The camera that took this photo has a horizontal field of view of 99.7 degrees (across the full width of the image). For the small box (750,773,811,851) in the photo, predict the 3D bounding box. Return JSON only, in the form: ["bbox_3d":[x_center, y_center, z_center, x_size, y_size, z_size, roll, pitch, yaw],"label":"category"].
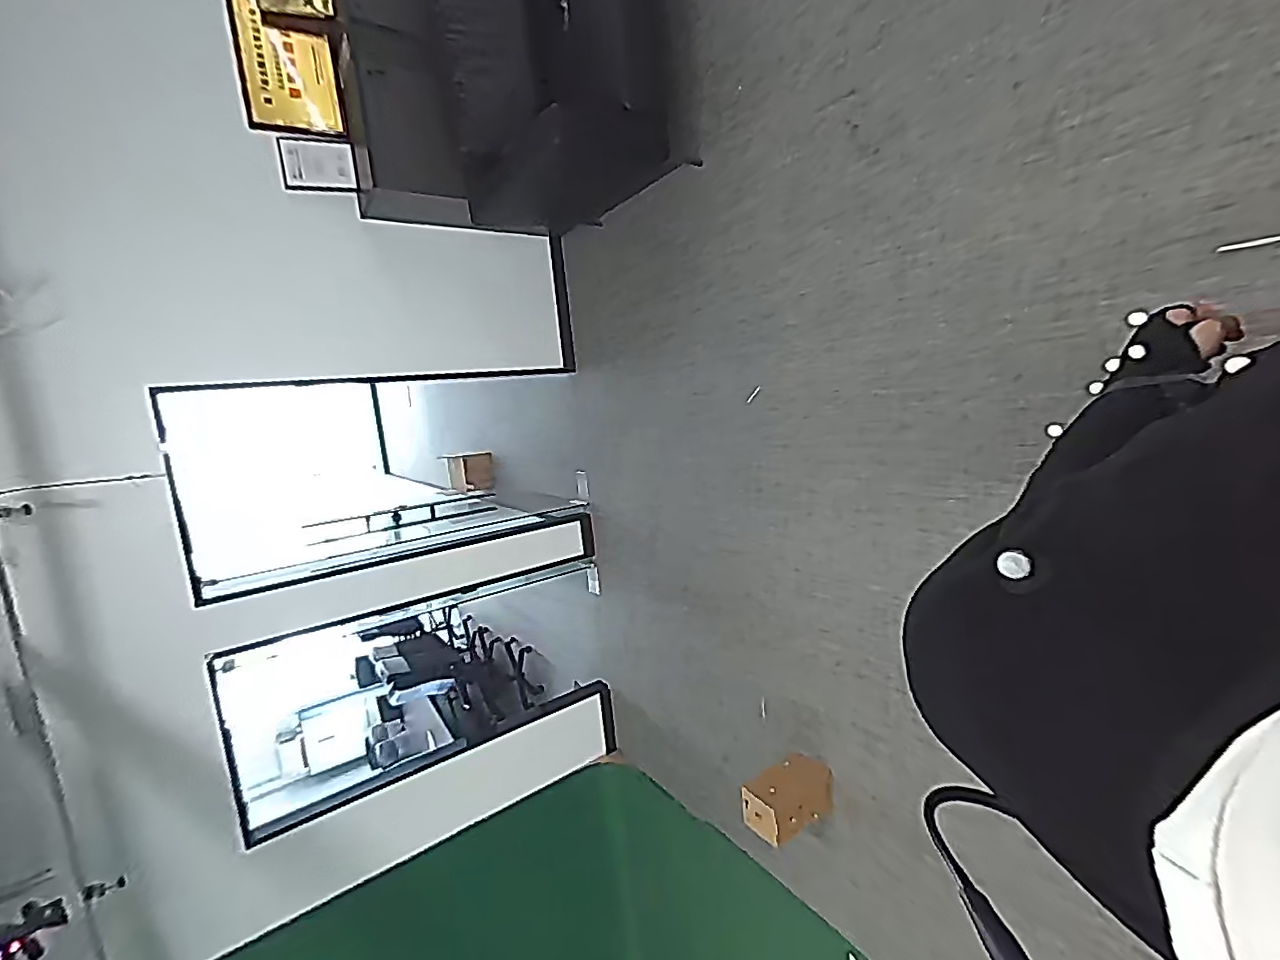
[{"bbox_3d":[0.558,1.298,2.130,0.179,0.176,0.168,6,103,55],"label":"small box"}]
